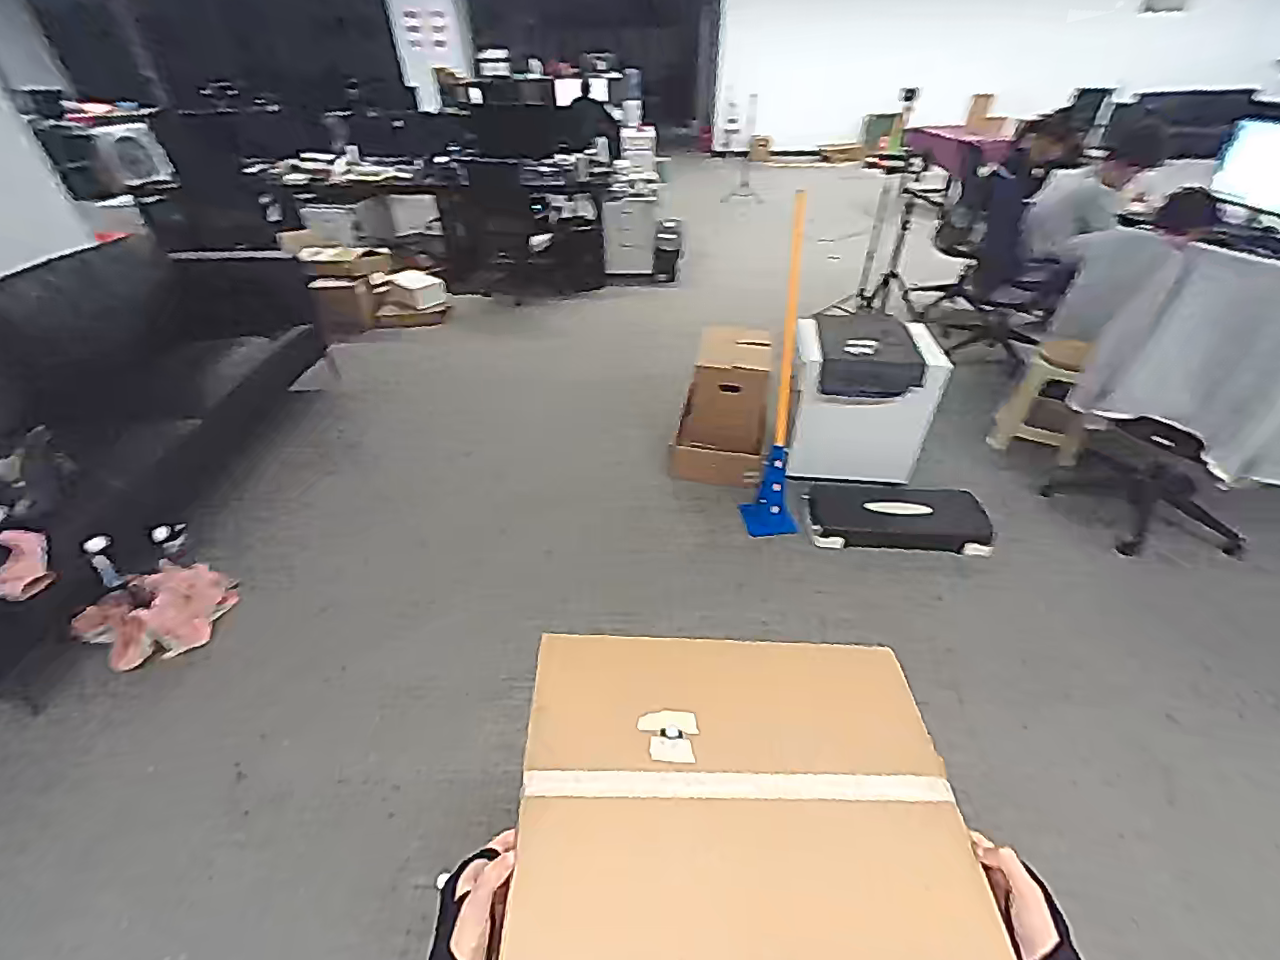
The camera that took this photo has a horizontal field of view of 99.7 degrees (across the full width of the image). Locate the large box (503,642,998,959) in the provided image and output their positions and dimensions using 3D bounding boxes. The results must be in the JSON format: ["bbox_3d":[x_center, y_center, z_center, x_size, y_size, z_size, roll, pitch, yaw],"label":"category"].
[{"bbox_3d":[0.080,0.401,0.615,0.408,0.320,0.320,3,43,-4],"label":"large box"}]
